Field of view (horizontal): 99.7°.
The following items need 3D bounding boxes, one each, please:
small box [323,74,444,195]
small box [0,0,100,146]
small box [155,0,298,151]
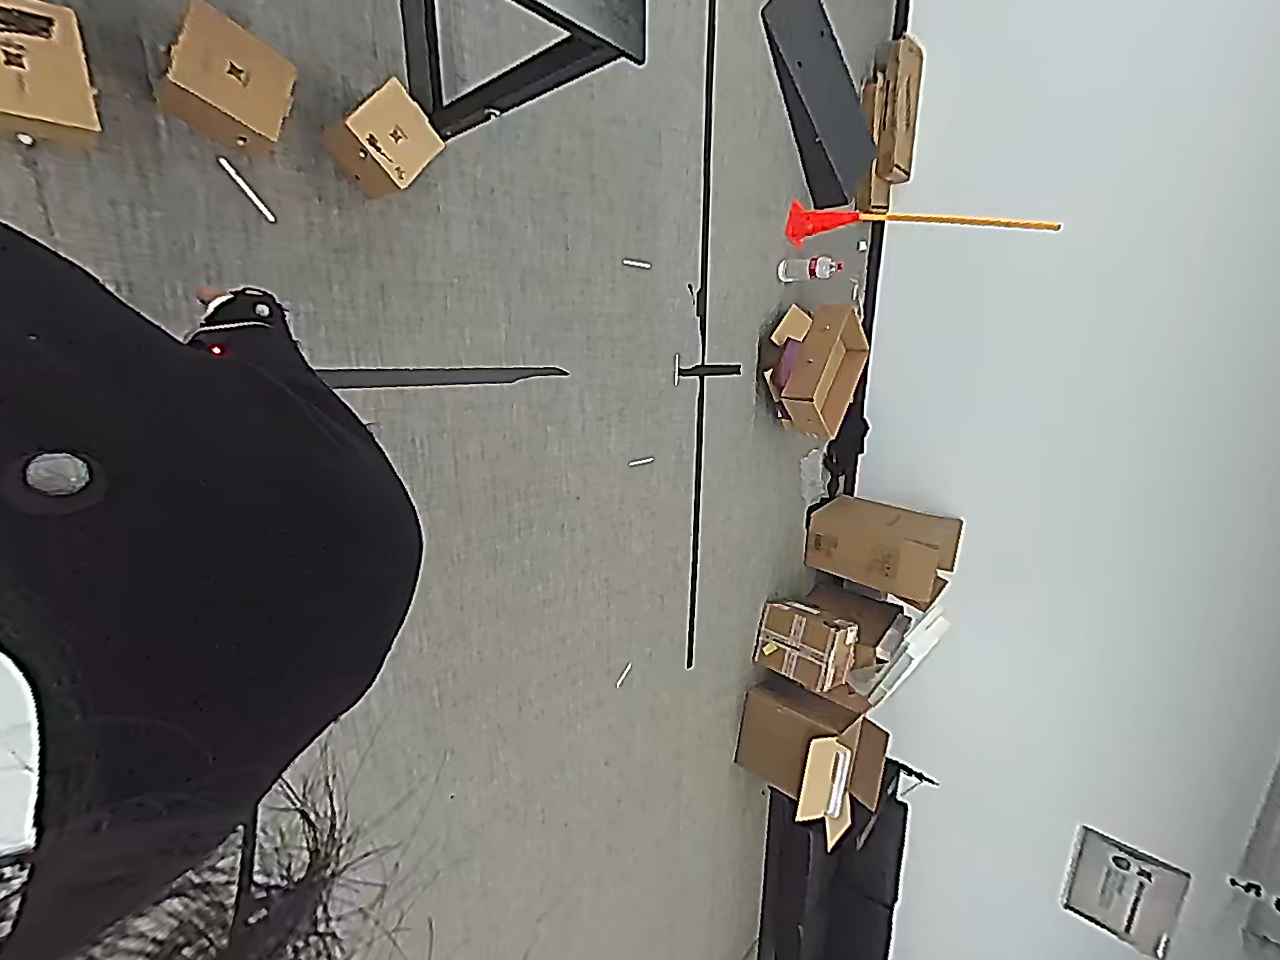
[{"bbox_3d":[-0.619,-0.821,1.298,0.179,0.176,0.168,-60,136,-18],"label":"small box"},{"bbox_3d":[-1.022,-0.677,0.881,0.168,0.176,0.179,-15,113,-45],"label":"small box"},{"bbox_3d":[-0.824,-0.792,1.077,0.179,0.176,0.168,16,87,-49],"label":"small box"}]
